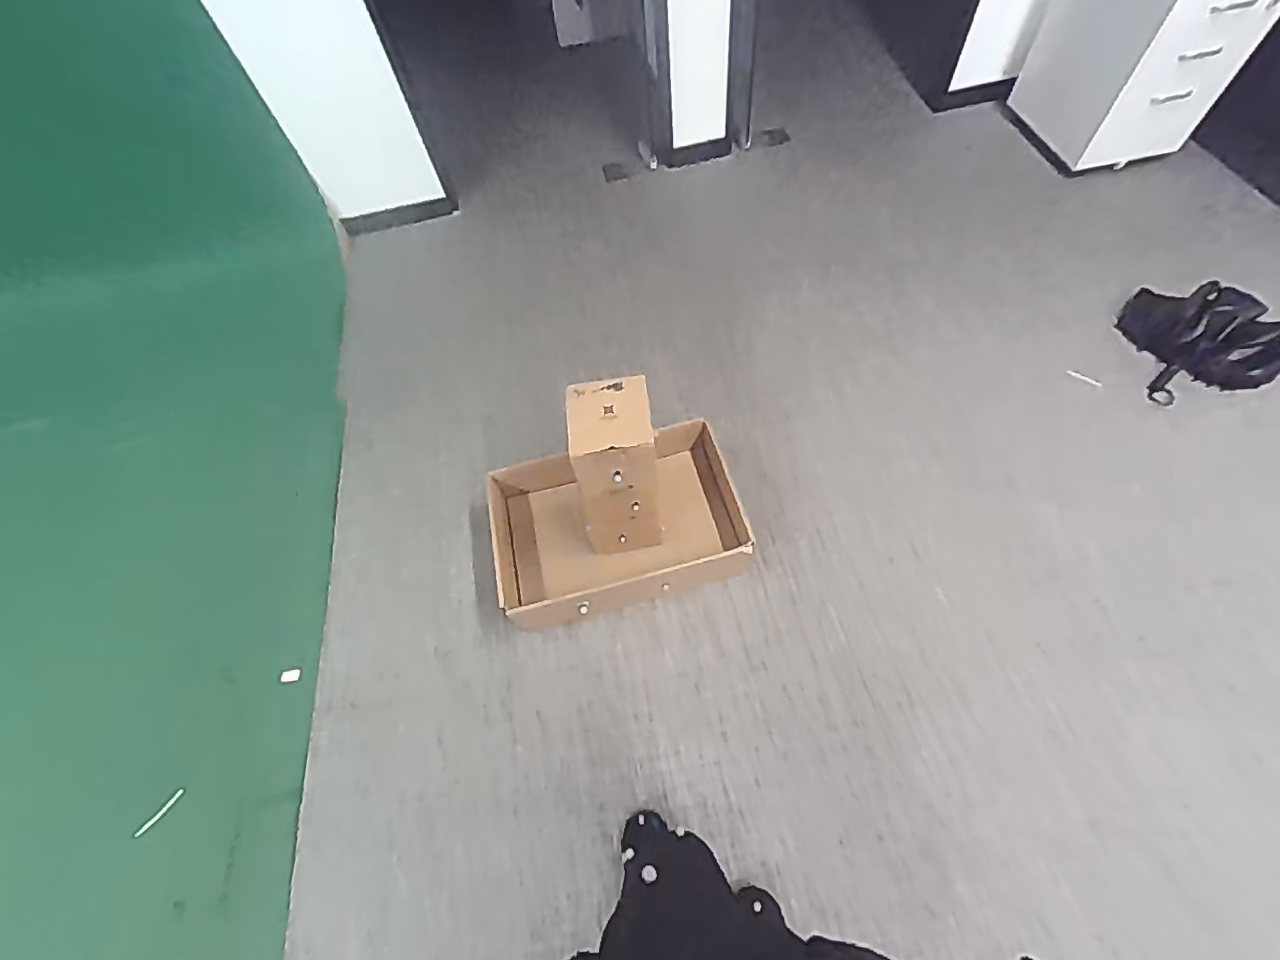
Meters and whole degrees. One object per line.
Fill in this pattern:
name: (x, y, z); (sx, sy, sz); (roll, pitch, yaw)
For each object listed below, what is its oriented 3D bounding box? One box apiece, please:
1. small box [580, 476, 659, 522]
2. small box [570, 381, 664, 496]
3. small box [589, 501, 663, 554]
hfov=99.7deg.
small box: (-0.047, -0.011, 1.281); (0.168, 0.176, 0.179); (-7, 59, 1)
small box: (-0.046, -0.079, 1.154); (0.168, 0.176, 0.179); (-10, 59, 5)
small box: (-0.037, 0.082, 1.432); (0.179, 0.176, 0.168); (-10, 59, 4)
